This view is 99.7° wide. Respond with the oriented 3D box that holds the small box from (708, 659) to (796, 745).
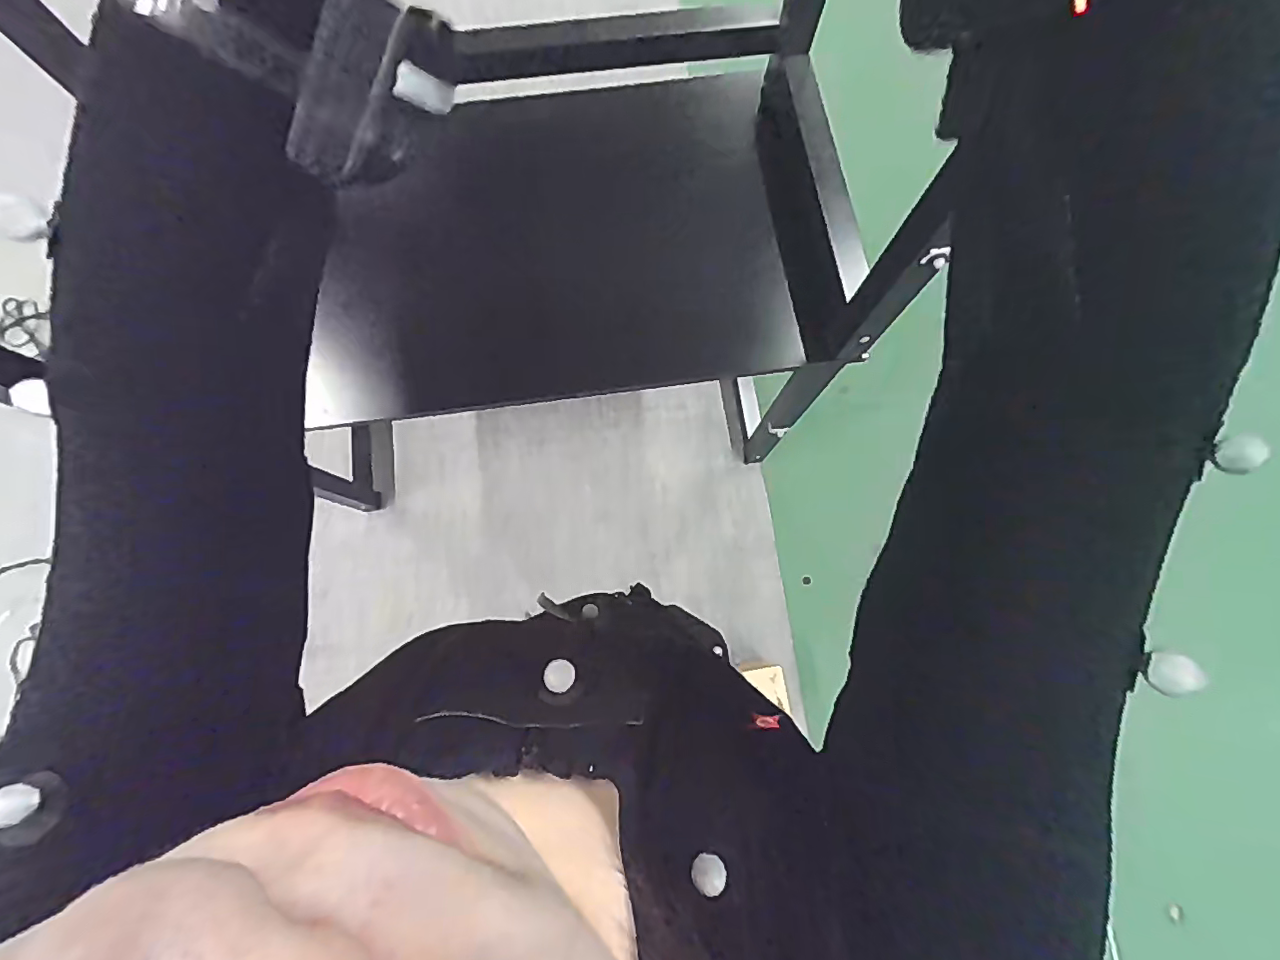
[{"bbox_3d":[0.274,0.556,1.371,0.179,0.176,0.168,-9,77,-2],"label":"small box"}]
